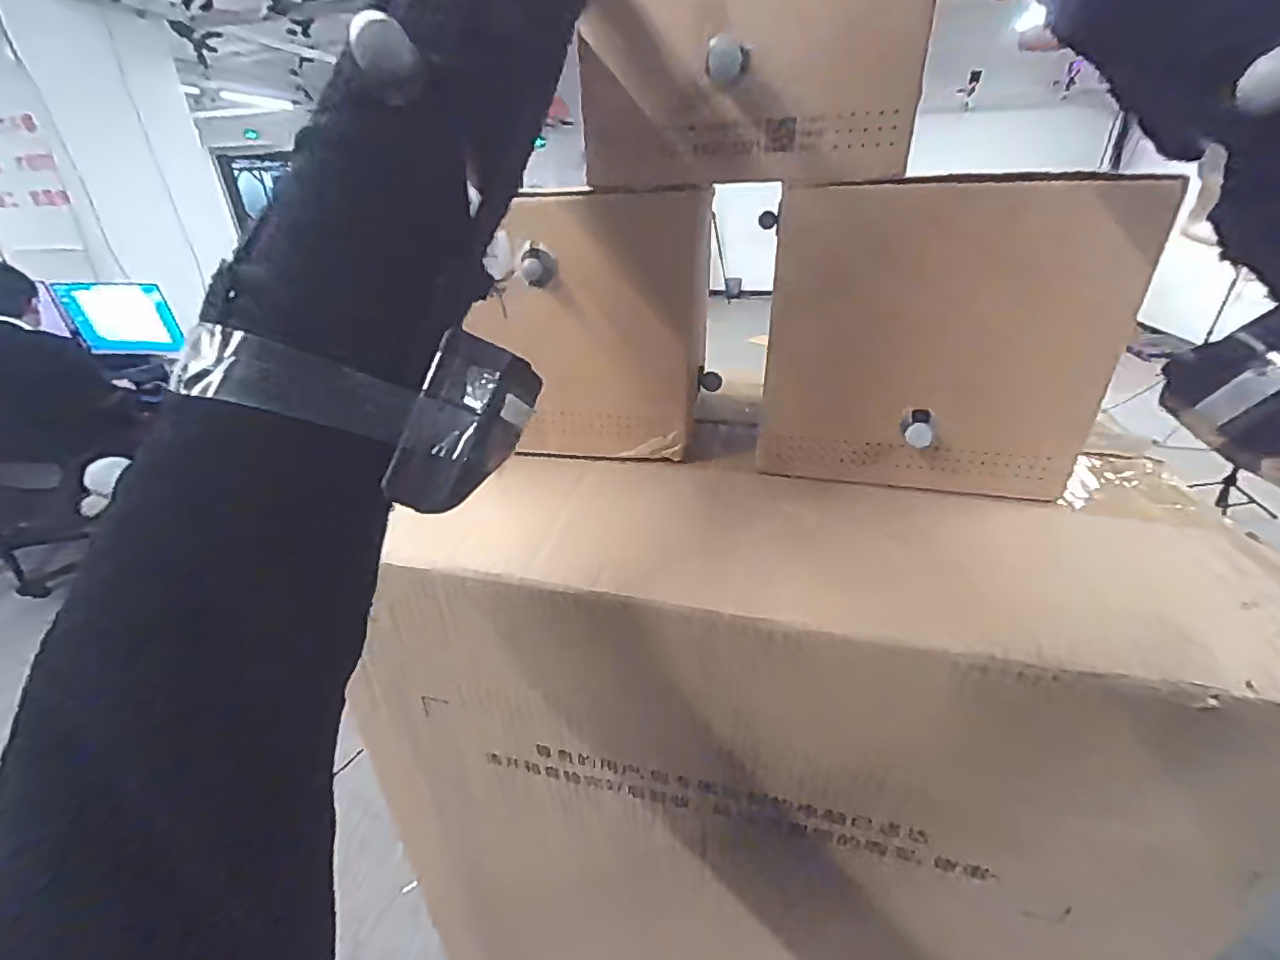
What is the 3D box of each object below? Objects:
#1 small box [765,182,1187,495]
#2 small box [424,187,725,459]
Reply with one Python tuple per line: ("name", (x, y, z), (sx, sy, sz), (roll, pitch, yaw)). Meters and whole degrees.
("small box", (0.184, -0.103, 0.366), (0.179, 0.176, 0.168), (5, 28, 13))
("small box", (-0.031, -0.126, 0.416), (0.179, 0.176, 0.168), (5, 29, 10))
